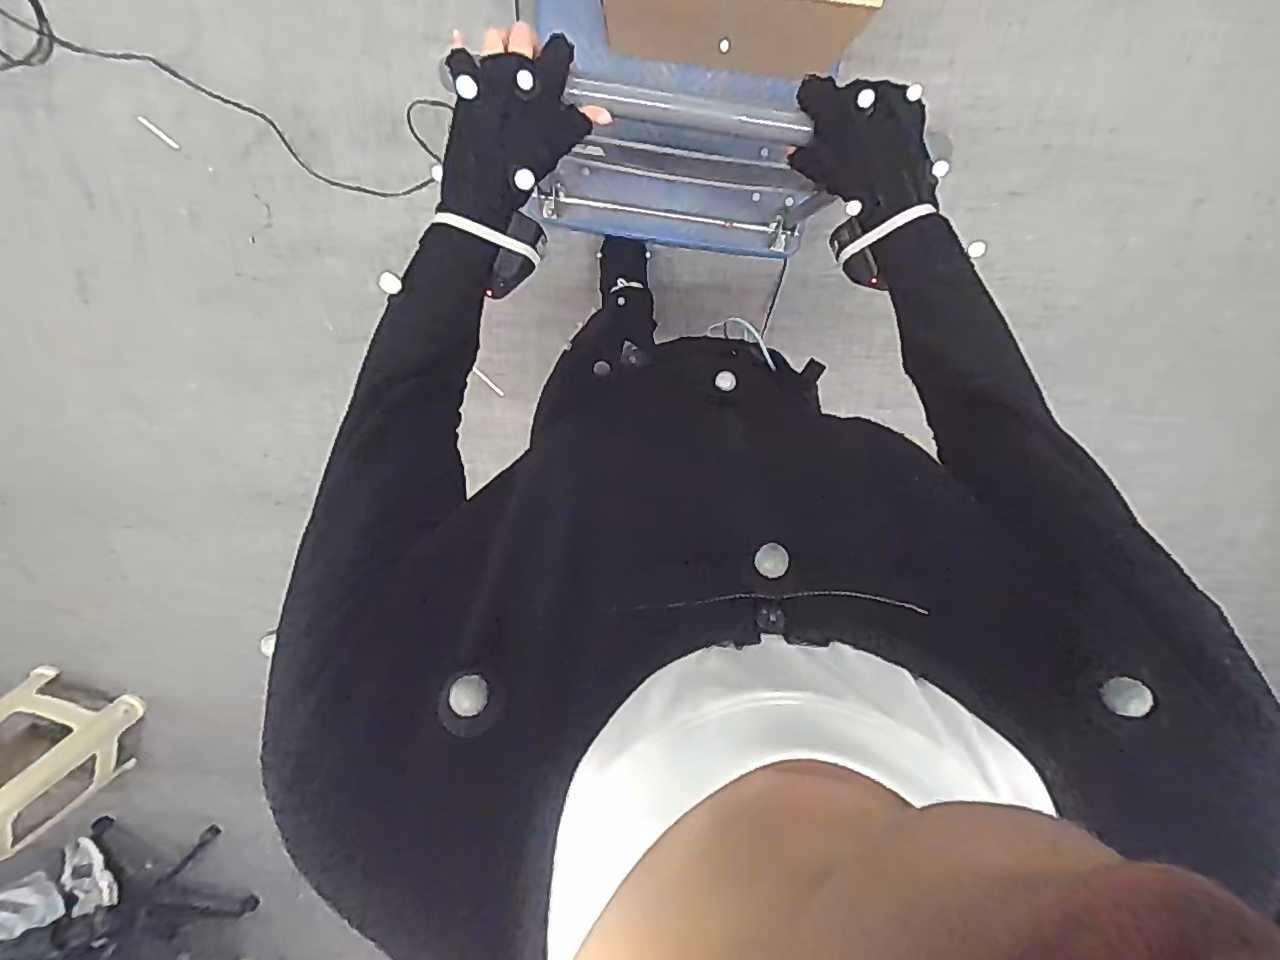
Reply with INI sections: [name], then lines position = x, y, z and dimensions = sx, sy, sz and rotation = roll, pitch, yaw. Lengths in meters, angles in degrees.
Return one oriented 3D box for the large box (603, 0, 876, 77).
[large box]
position = 0.159, -0.883, 0.853
dimensions = 0.408, 0.320, 0.320
rotation = 7, 110, 0
